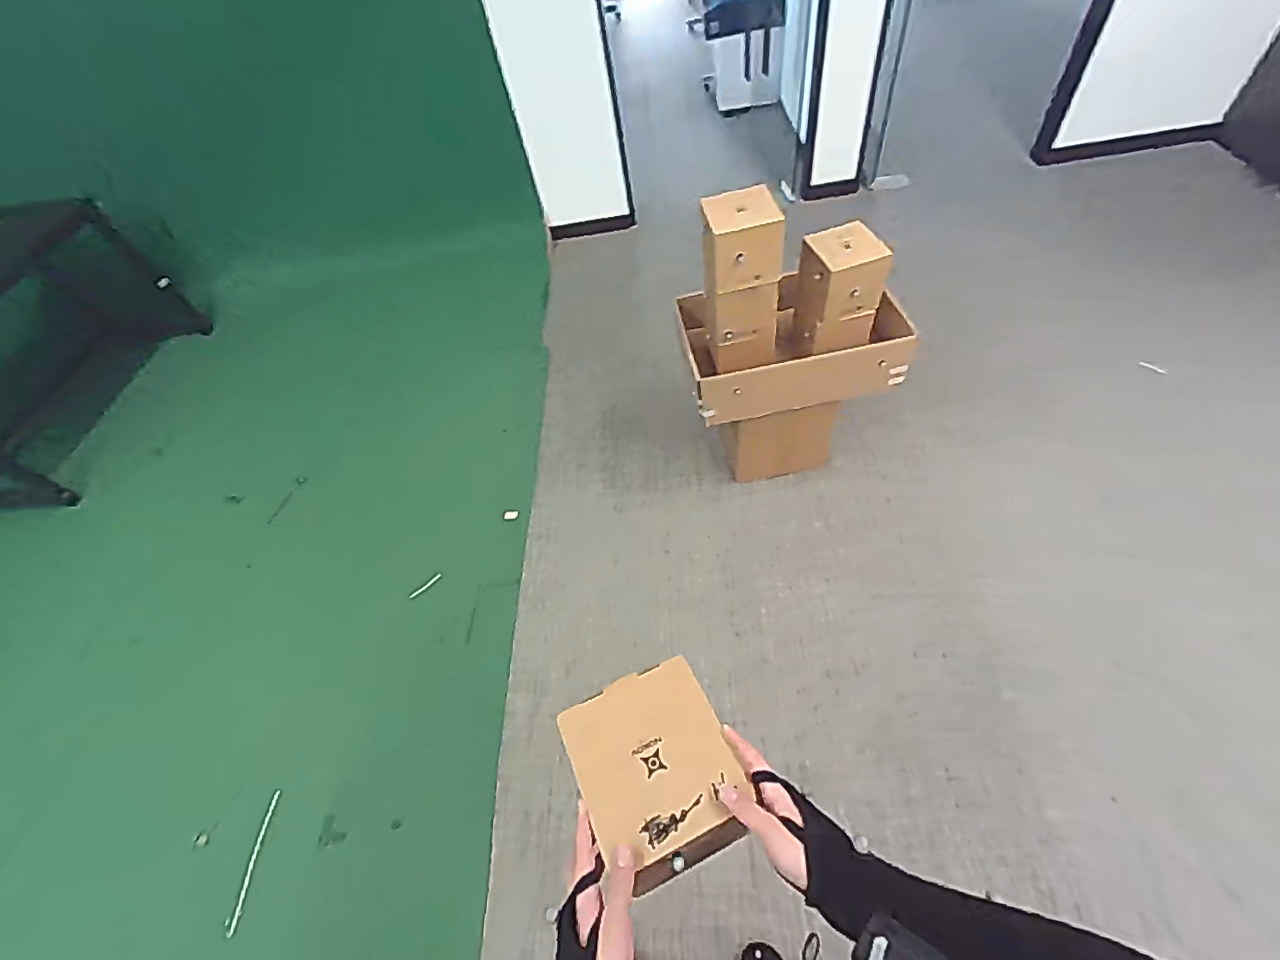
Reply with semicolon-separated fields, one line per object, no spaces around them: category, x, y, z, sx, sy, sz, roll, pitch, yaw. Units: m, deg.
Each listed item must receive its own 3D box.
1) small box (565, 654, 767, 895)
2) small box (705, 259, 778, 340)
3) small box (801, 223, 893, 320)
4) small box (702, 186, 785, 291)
small box;0.027;0.342;0.628;0.168;0.176;0.179;-21;49;-10
small box;0.276;-0.501;1.478;0.168;0.176;0.179;-10;52;3
small box;0.552;-0.556;1.467;0.168;0.176;0.179;-16;54;-2
small box;0.255;-0.591;1.345;0.168;0.176;0.179;-12;52;3
